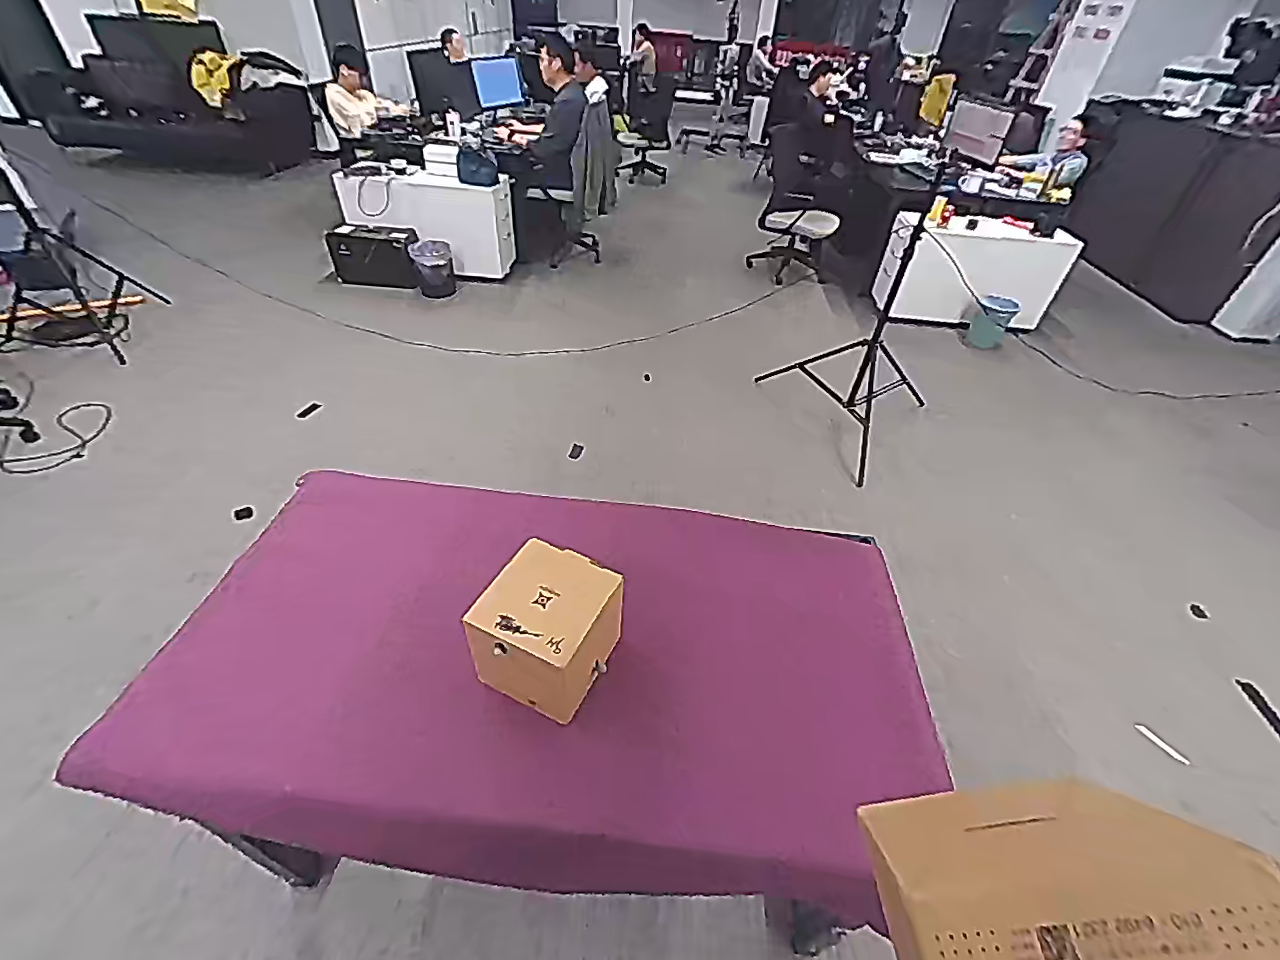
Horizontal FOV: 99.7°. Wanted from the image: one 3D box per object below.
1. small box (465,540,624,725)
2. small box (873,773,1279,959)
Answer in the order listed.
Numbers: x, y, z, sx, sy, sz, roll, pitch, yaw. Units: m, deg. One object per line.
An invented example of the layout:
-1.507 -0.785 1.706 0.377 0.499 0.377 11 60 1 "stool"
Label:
-0.140 0.230 0.824 0.168 0.176 0.179 20 42 17 "small box"
0.248 0.283 0.304 0.168 0.179 0.176 -13 70 10 "small box"
